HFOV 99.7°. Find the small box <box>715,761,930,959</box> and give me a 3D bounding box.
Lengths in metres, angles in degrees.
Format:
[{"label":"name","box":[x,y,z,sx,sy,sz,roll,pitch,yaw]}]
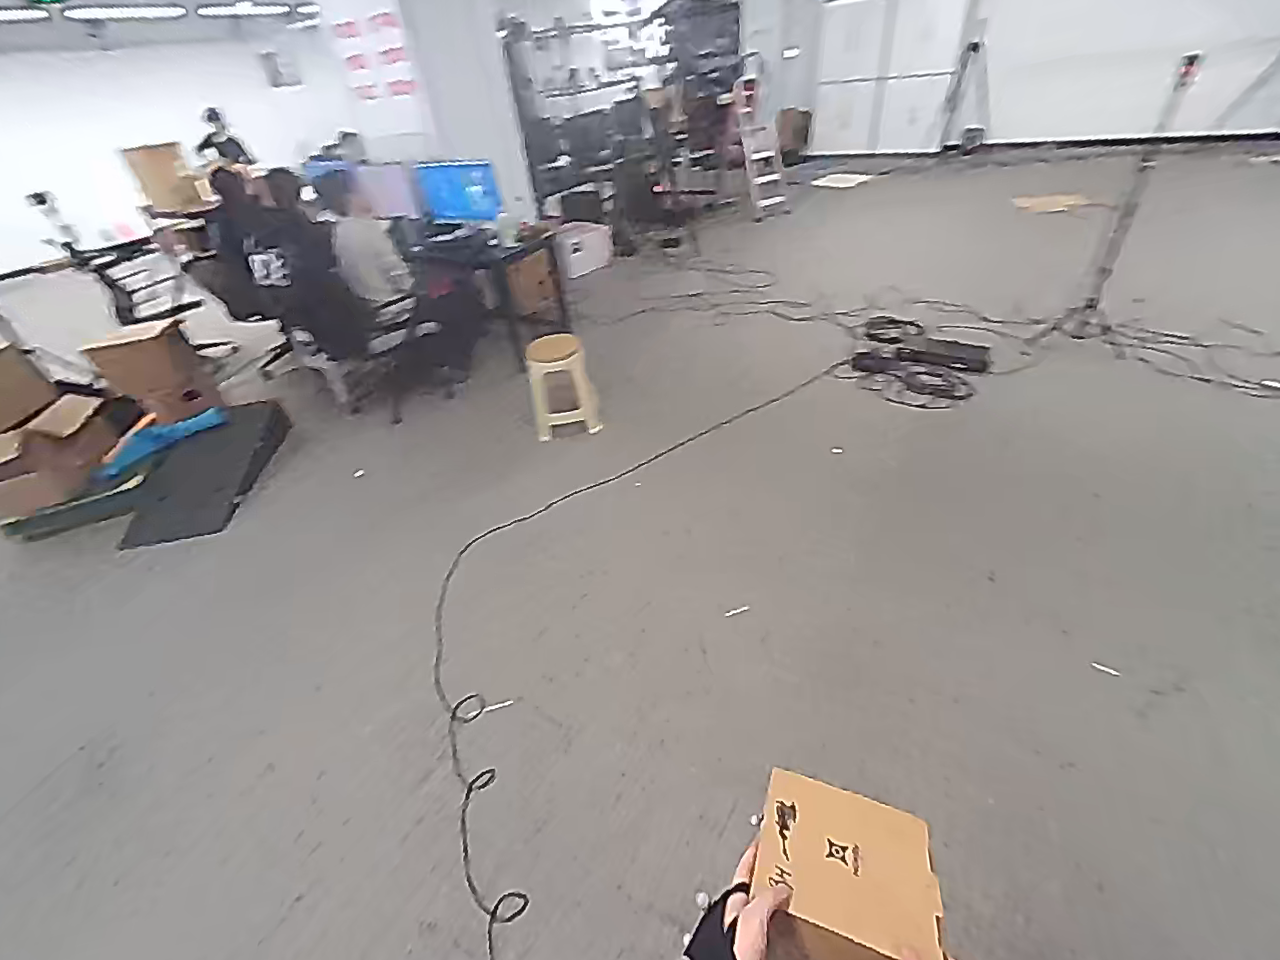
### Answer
[{"label":"small box","box":[0.197,0.466,0.601,0.179,0.176,0.168,14,22,17]}]
